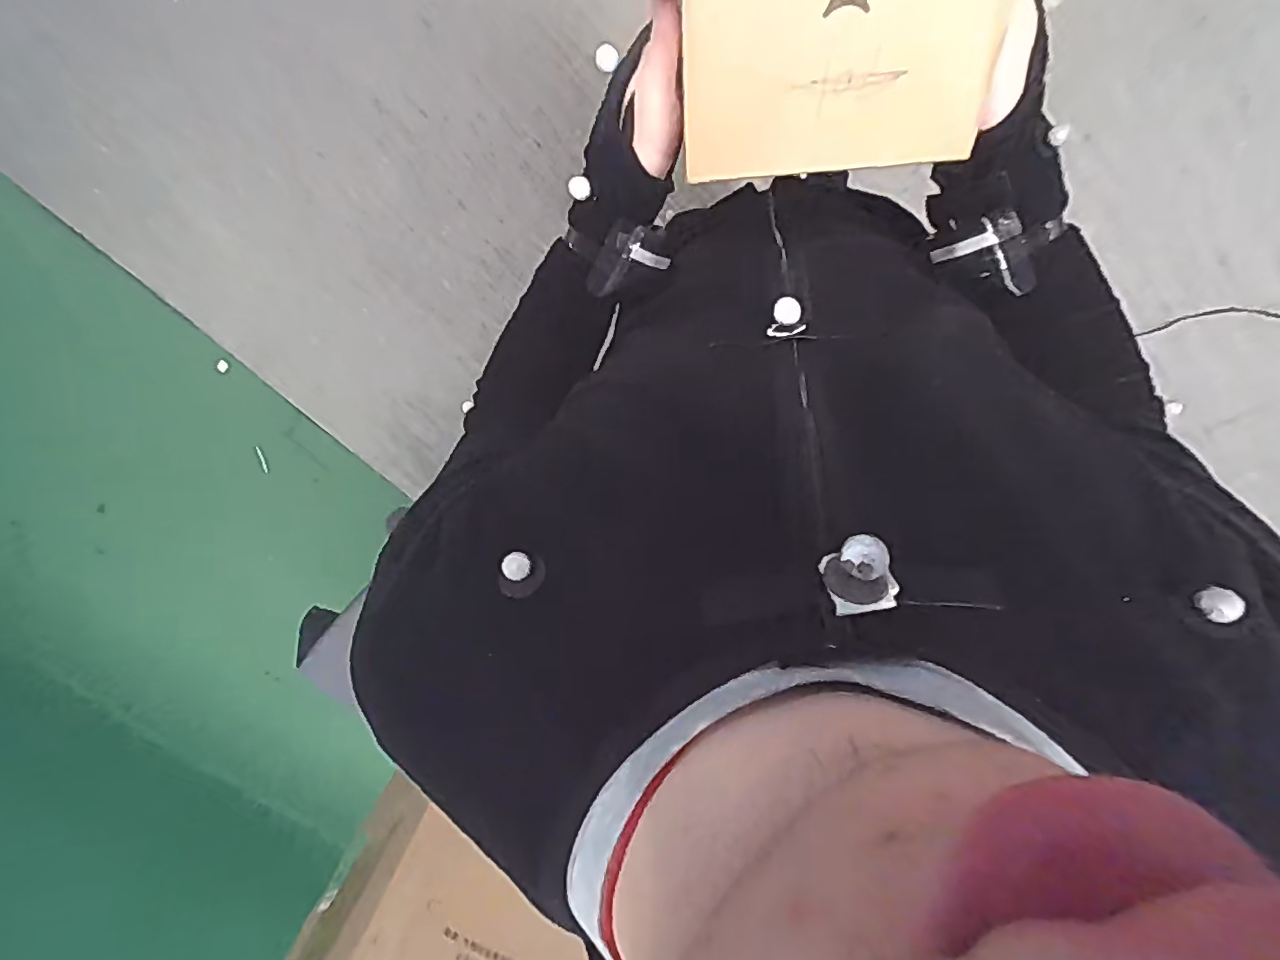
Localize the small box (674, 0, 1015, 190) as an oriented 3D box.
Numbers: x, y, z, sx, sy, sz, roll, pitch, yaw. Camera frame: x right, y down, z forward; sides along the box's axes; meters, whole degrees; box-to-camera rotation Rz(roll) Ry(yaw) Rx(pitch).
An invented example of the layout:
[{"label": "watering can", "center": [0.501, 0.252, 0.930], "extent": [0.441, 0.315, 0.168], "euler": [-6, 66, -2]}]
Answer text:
[{"label": "small box", "center": [0.104, -0.297, 0.323], "extent": [0.168, 0.176, 0.179], "euler": [-1, 135, 4]}]
